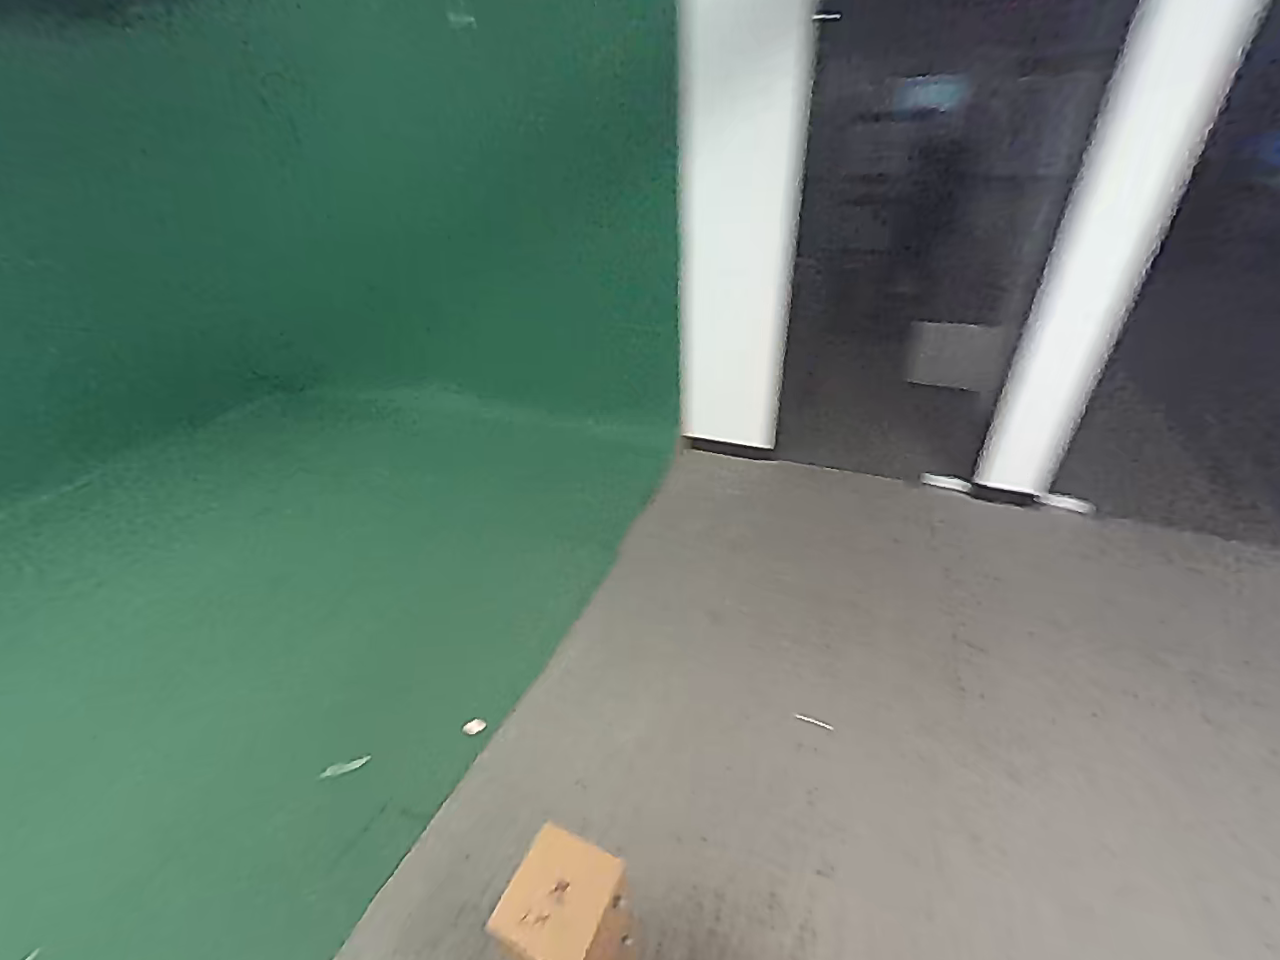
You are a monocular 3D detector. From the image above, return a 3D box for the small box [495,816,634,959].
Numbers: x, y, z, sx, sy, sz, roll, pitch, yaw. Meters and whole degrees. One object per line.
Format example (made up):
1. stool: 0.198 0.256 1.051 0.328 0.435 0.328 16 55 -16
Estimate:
1. small box: -0.119 0.738 0.931 0.168 0.176 0.179 12 36 24
